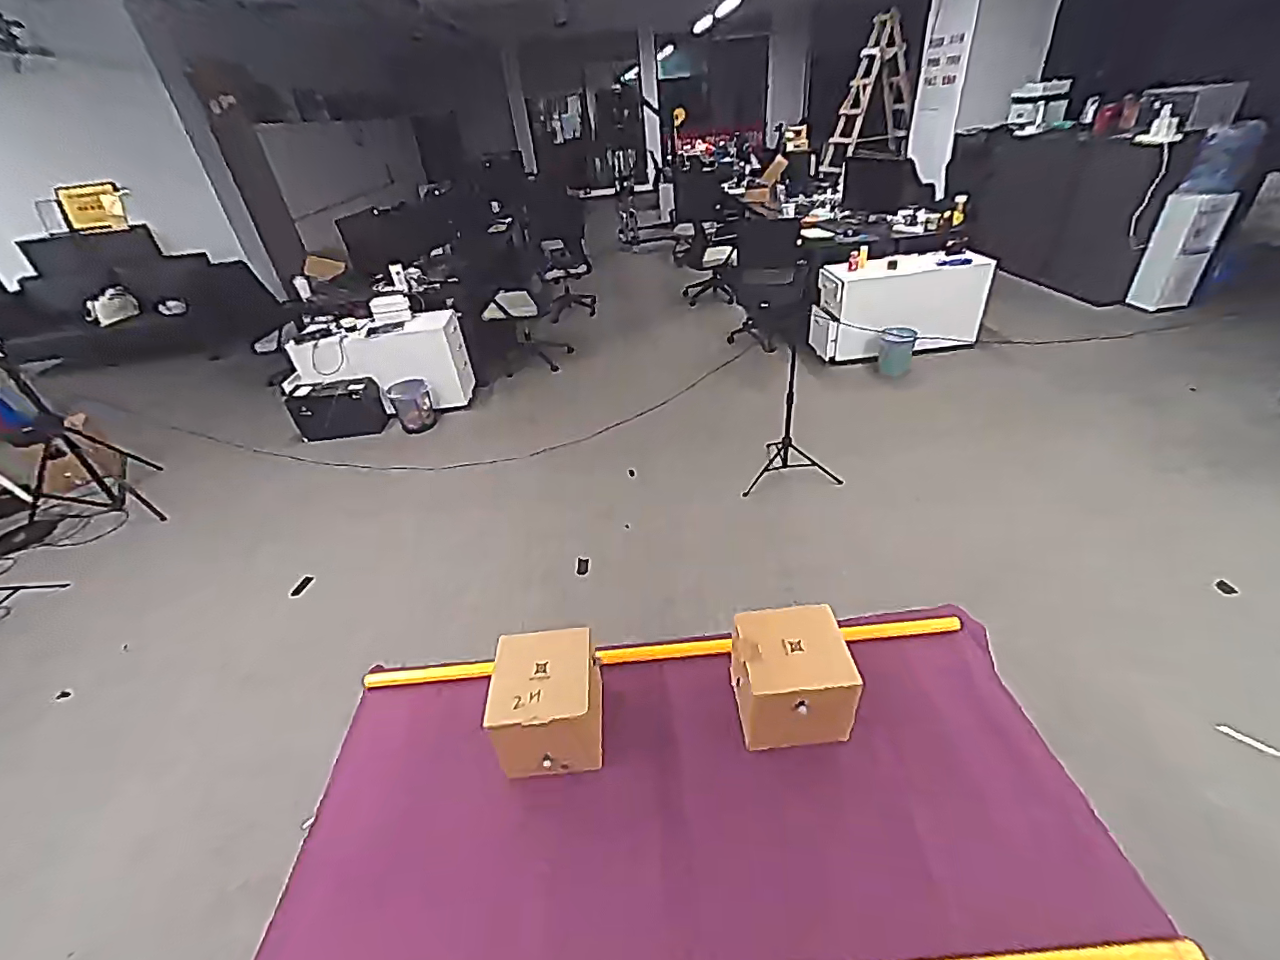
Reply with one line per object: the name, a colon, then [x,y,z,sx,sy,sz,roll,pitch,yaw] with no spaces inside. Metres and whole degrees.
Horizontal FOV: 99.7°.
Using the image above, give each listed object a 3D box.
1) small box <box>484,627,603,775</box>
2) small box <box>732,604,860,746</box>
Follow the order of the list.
small box: [-0.159,0.387,0.954,0.168,0.176,0.179,-6,36,1]
small box: [0.262,0.344,0.952,0.179,0.176,0.168,-7,36,1]
